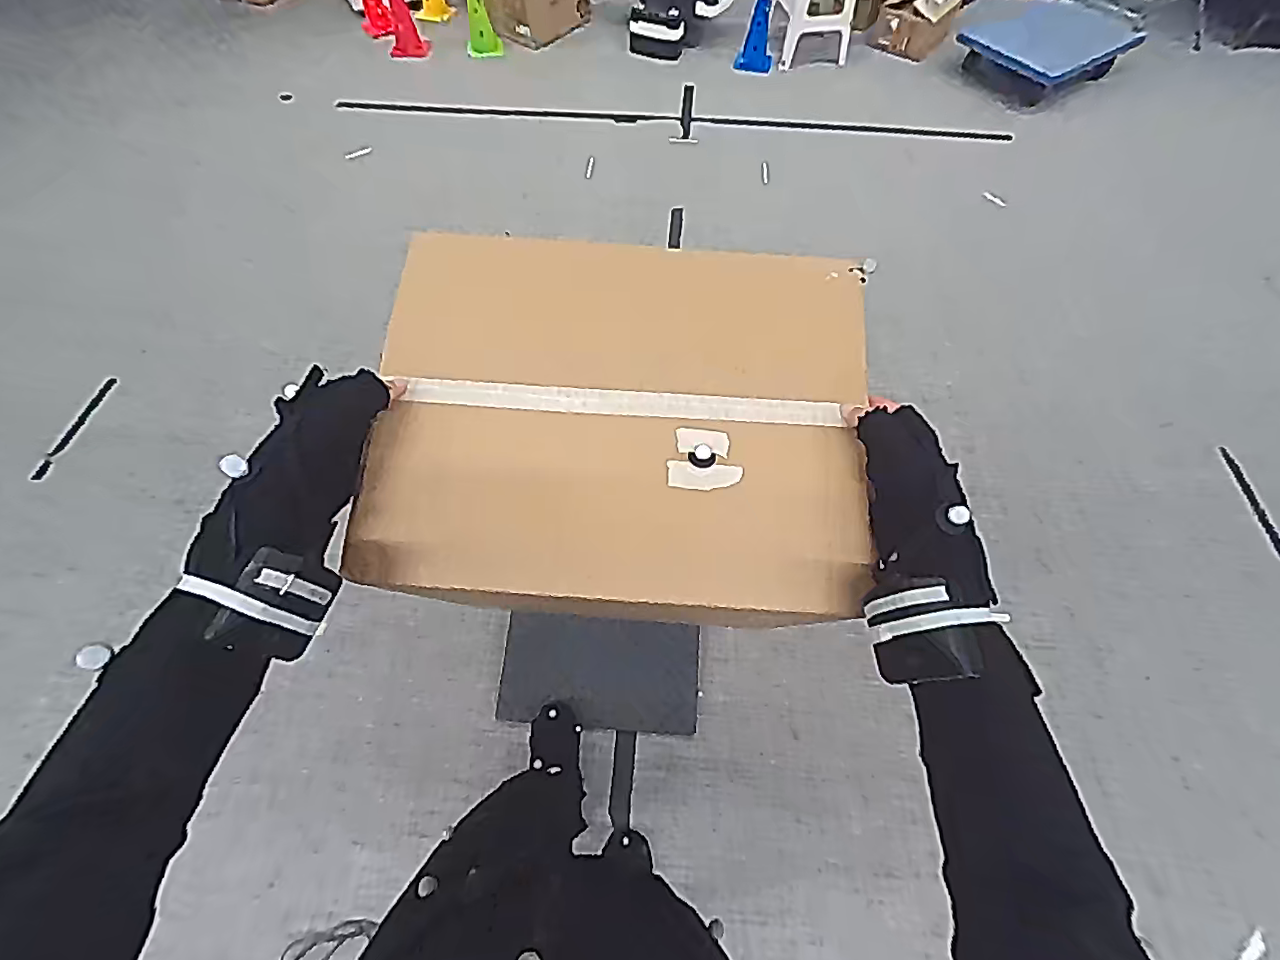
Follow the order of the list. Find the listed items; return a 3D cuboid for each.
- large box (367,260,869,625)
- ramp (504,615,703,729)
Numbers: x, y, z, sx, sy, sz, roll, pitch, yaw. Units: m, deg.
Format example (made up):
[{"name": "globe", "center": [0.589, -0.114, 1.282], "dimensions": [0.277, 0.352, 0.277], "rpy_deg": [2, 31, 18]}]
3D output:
[{"name": "large box", "center": [-0.014, -0.010, 0.608], "dimensions": [0.408, 0.320, 0.320], "rpy_deg": [4, 73, 0]}, {"name": "ramp", "center": [-0.059, 0.129, 1.495], "dimensions": [0.509, 0.206, 0.991], "rpy_deg": [3, 60, 0]}]
